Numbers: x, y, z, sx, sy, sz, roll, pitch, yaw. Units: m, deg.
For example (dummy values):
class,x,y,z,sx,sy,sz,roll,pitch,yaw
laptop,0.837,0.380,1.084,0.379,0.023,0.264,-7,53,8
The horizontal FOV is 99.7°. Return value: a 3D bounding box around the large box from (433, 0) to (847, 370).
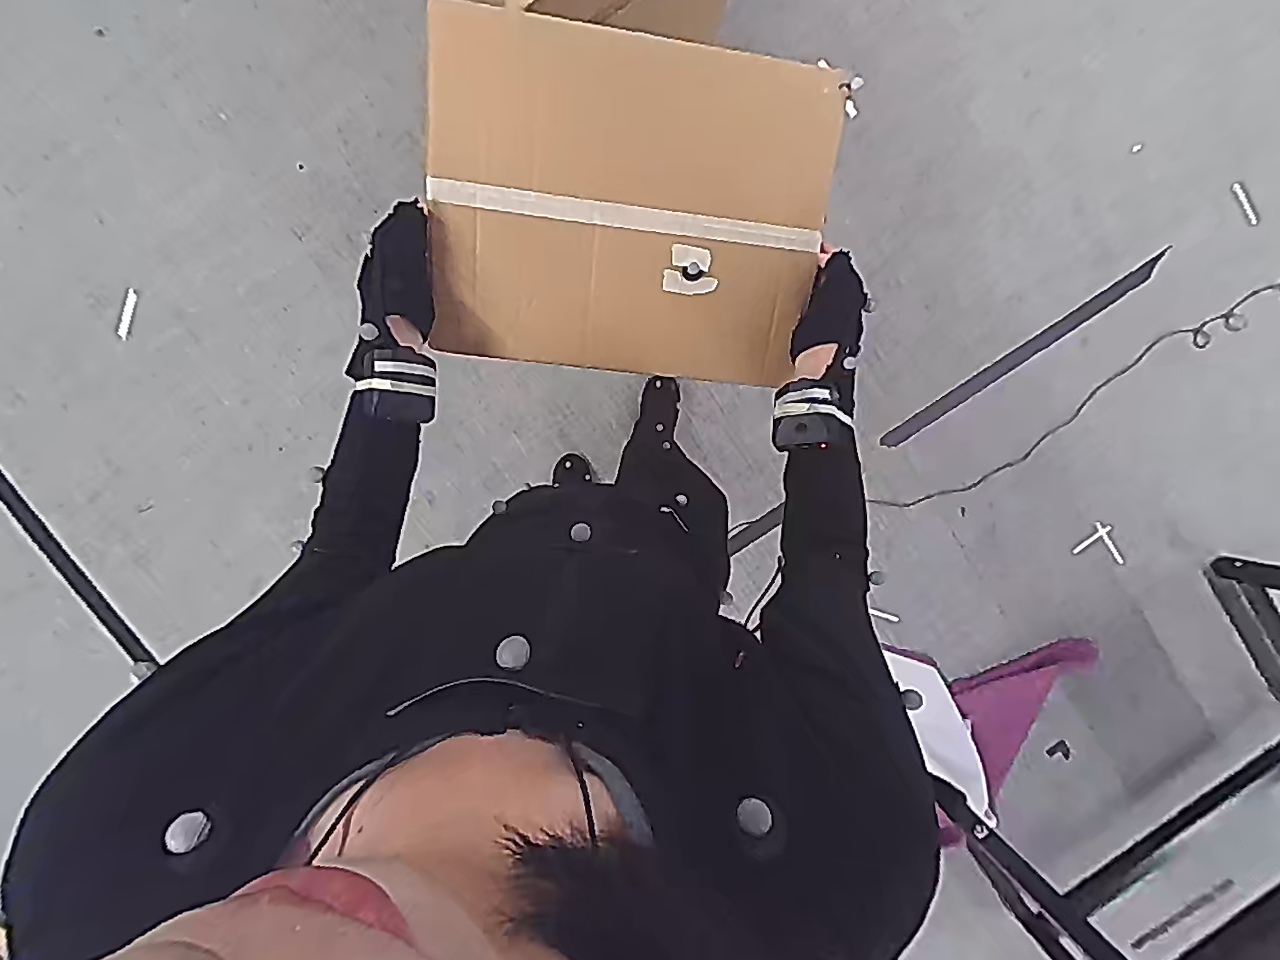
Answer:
class,x,y,z,sx,sy,sz,roll,pitch,yaw
large box,-0.020,-0.325,0.692,0.408,0.320,0.320,4,108,-8
